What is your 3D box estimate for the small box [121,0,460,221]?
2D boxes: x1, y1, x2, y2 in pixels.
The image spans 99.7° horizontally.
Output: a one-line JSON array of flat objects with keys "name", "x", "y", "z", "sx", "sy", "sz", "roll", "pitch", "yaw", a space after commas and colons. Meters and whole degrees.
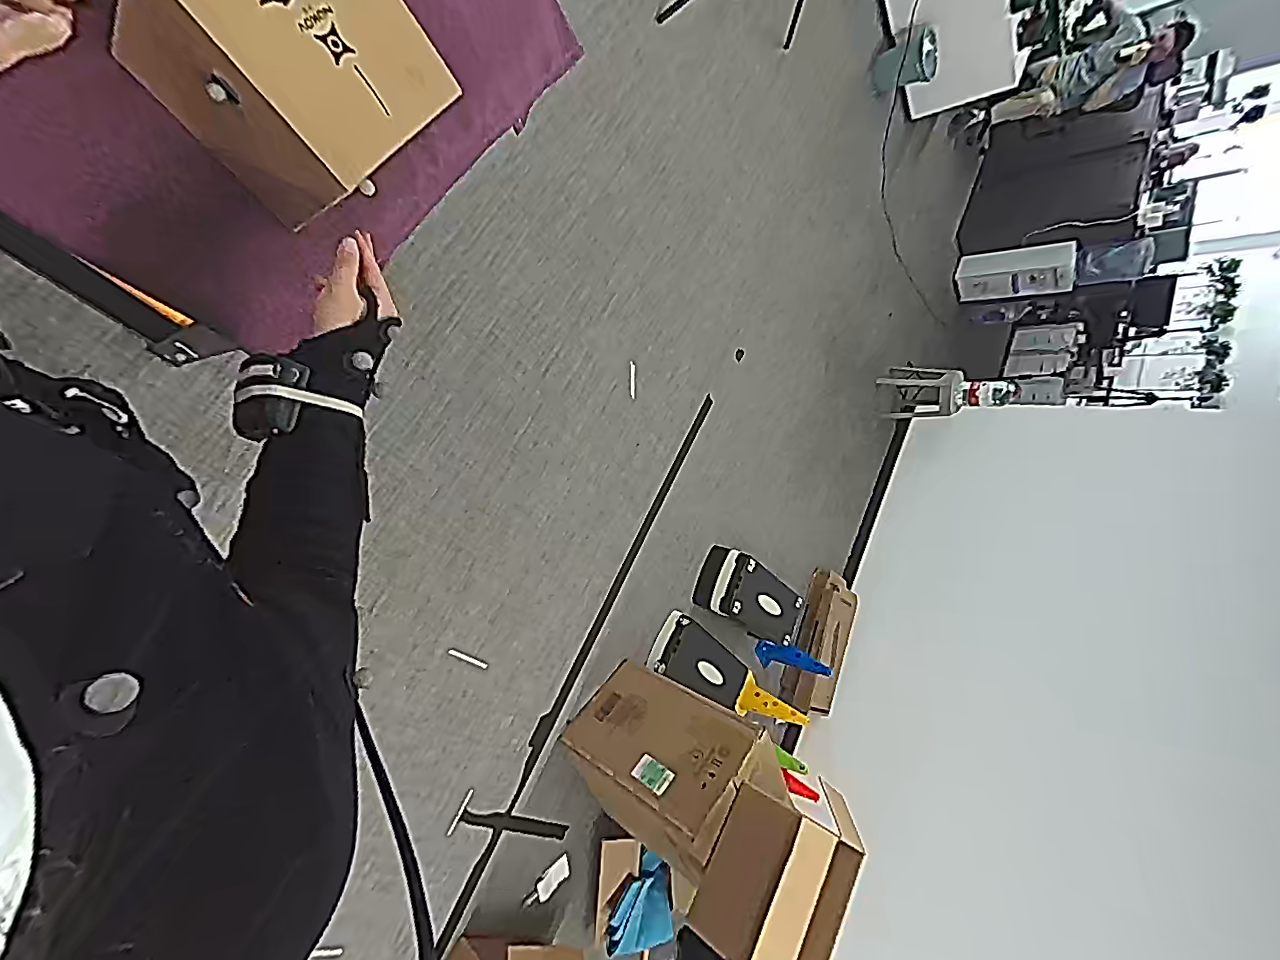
[{"name": "small box", "x": -0.311, "y": -0.370, "z": 0.488, "sx": 0.179, "sy": 0.176, "sz": 0.168, "roll": 51, "pitch": 60, "yaw": -39}]
